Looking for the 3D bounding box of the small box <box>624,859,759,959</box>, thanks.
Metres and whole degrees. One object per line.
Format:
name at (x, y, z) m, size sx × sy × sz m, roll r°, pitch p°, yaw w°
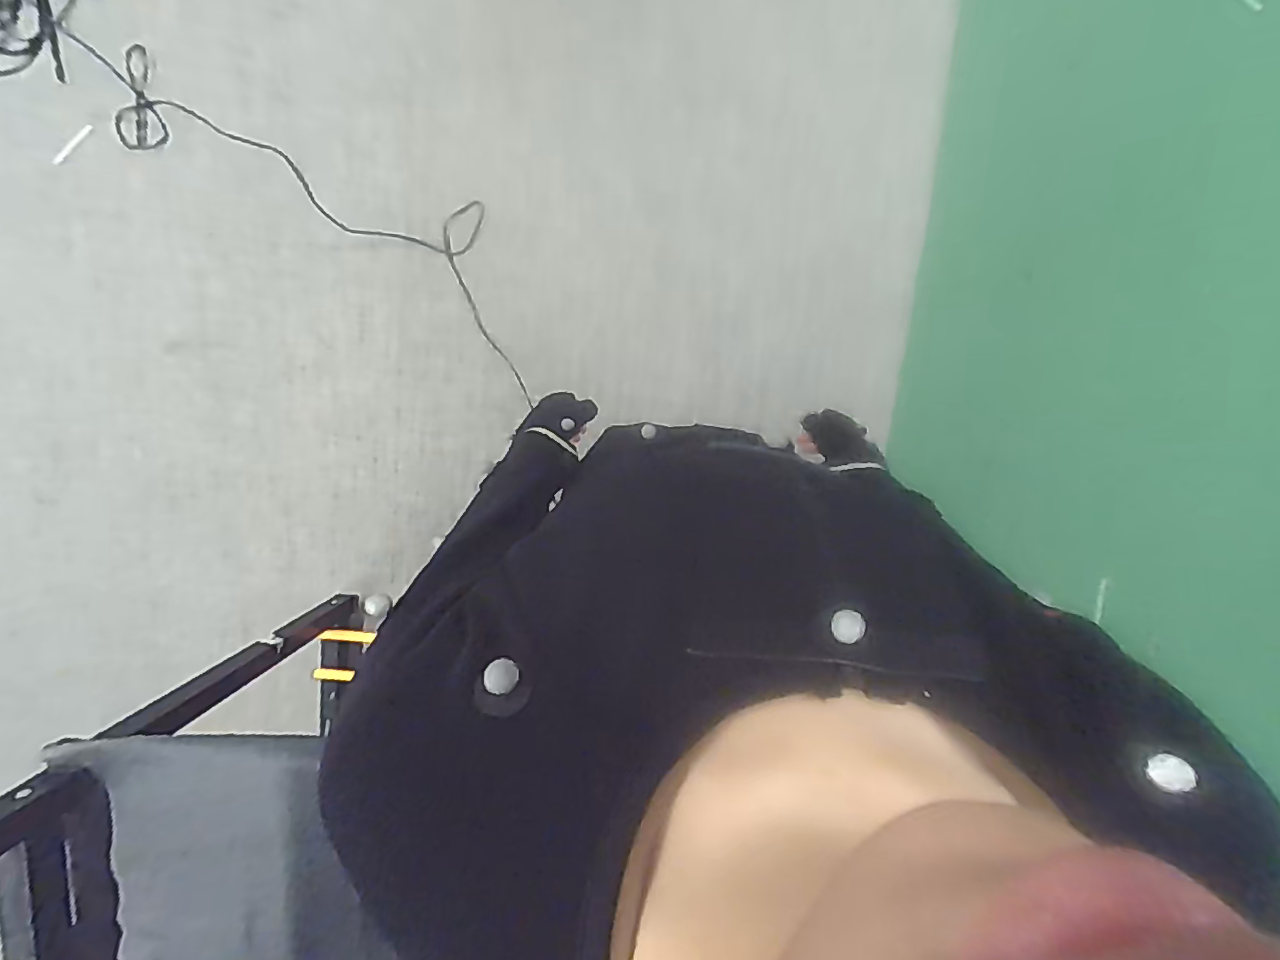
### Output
small box at (0.062, 0.667, 0.747) m, size 0.168 × 0.176 × 0.179 m, roll 4°, pitch 98°, yaw 1°
